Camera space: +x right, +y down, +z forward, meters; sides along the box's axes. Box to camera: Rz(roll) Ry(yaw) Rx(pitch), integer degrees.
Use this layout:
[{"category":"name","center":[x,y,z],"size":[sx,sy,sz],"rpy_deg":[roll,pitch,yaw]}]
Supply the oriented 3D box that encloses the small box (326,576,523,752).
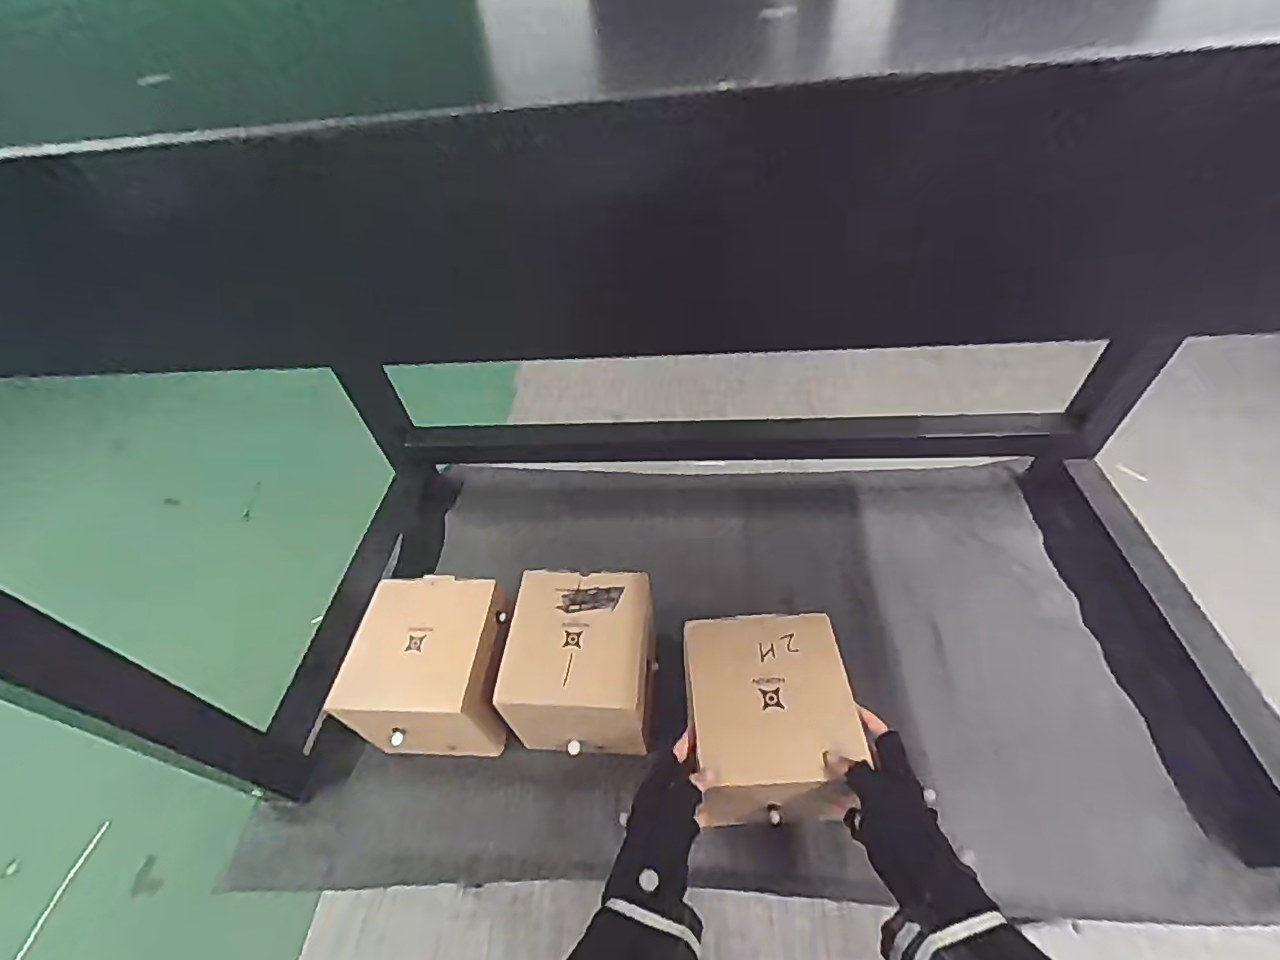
[{"category":"small box","center":[-0.267,0.247,0.721],"size":[0.168,0.176,0.179],"rpy_deg":[-1,47,6]}]
